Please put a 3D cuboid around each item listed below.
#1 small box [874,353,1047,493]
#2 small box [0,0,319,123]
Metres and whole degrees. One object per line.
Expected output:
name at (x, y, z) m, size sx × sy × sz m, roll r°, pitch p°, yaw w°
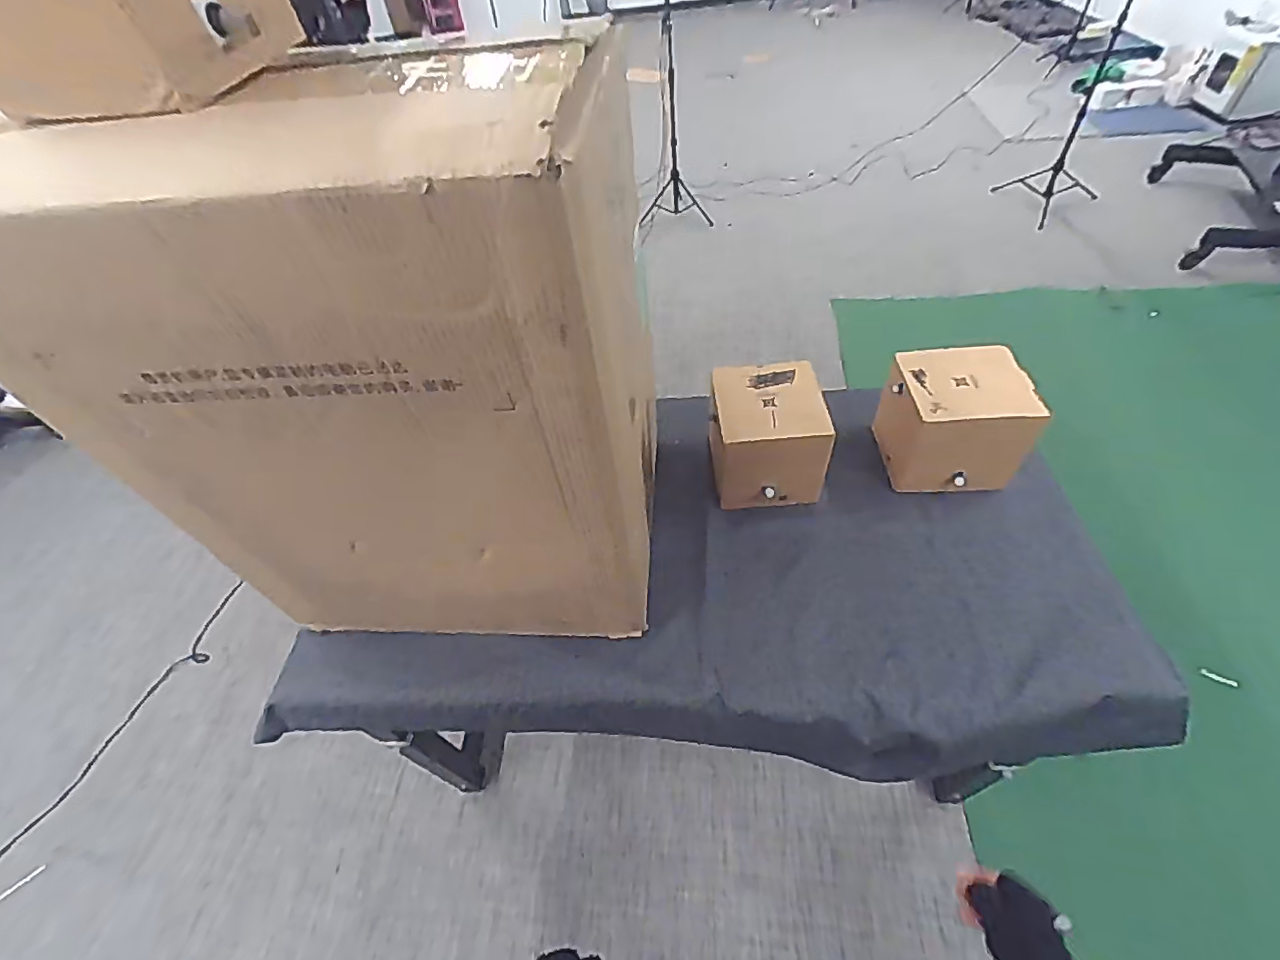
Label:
small box at (0.512, -0.091, 0.896) m, size 0.179 × 0.176 × 0.168 m, roll -1°, pitch 49°, yaw 6°
small box at (-0.392, -0.389, 0.400) m, size 0.179 × 0.176 × 0.168 m, roll 5°, pitch 56°, yaw 8°
